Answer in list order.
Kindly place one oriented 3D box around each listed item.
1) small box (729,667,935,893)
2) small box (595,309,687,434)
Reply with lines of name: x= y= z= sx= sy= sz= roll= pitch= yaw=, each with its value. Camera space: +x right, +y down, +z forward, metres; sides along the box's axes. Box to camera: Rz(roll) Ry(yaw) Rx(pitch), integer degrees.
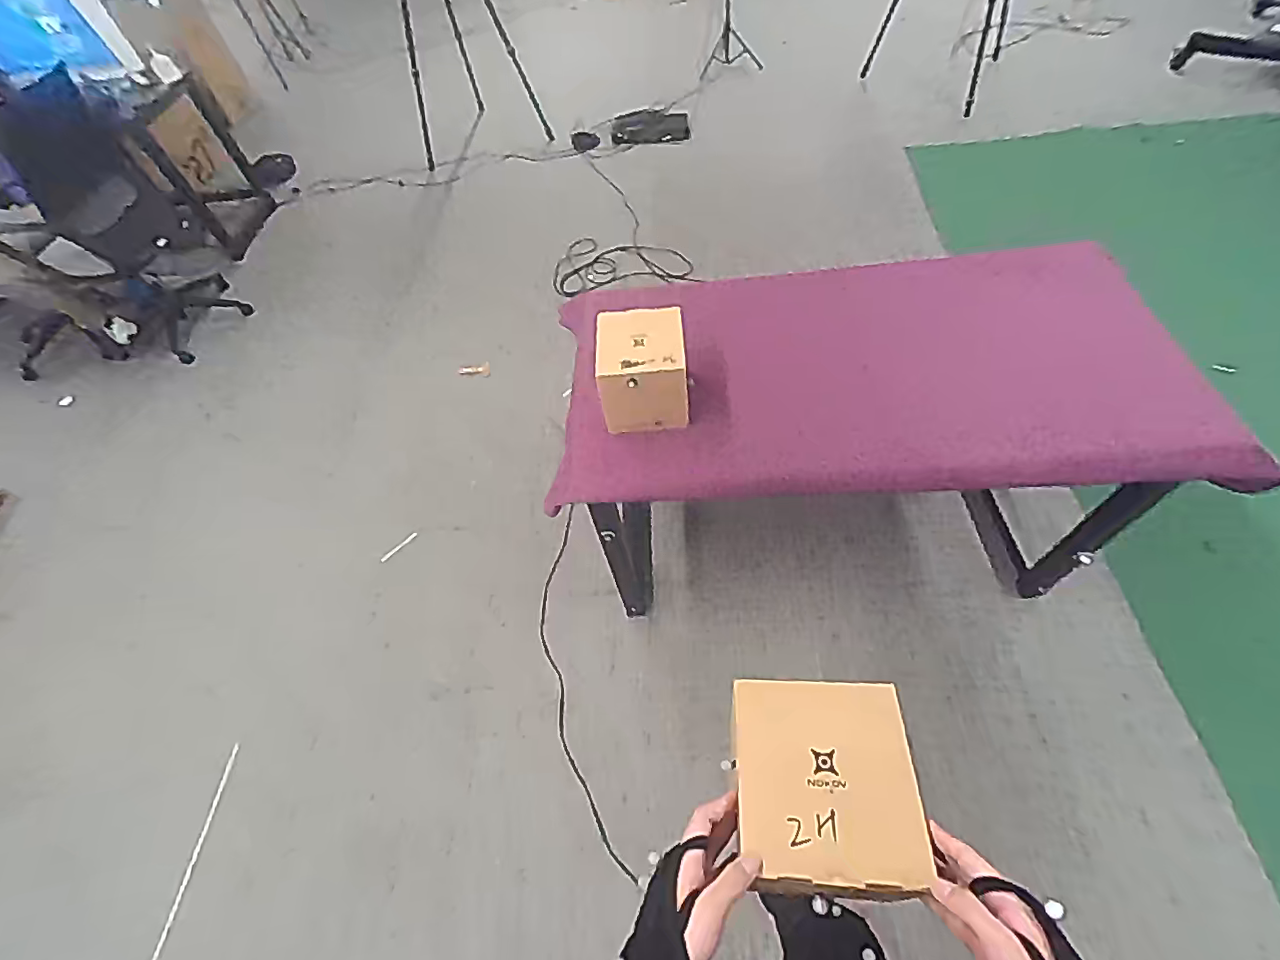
small box: x=0.182 y=0.319 z=0.576 sx=0.168 sy=0.176 sz=0.179 roll=-1 pitch=50 yaw=8
small box: x=0.007 y=-0.213 z=1.078 sx=0.168 sy=0.176 sz=0.179 roll=-4 pitch=54 yaw=5
